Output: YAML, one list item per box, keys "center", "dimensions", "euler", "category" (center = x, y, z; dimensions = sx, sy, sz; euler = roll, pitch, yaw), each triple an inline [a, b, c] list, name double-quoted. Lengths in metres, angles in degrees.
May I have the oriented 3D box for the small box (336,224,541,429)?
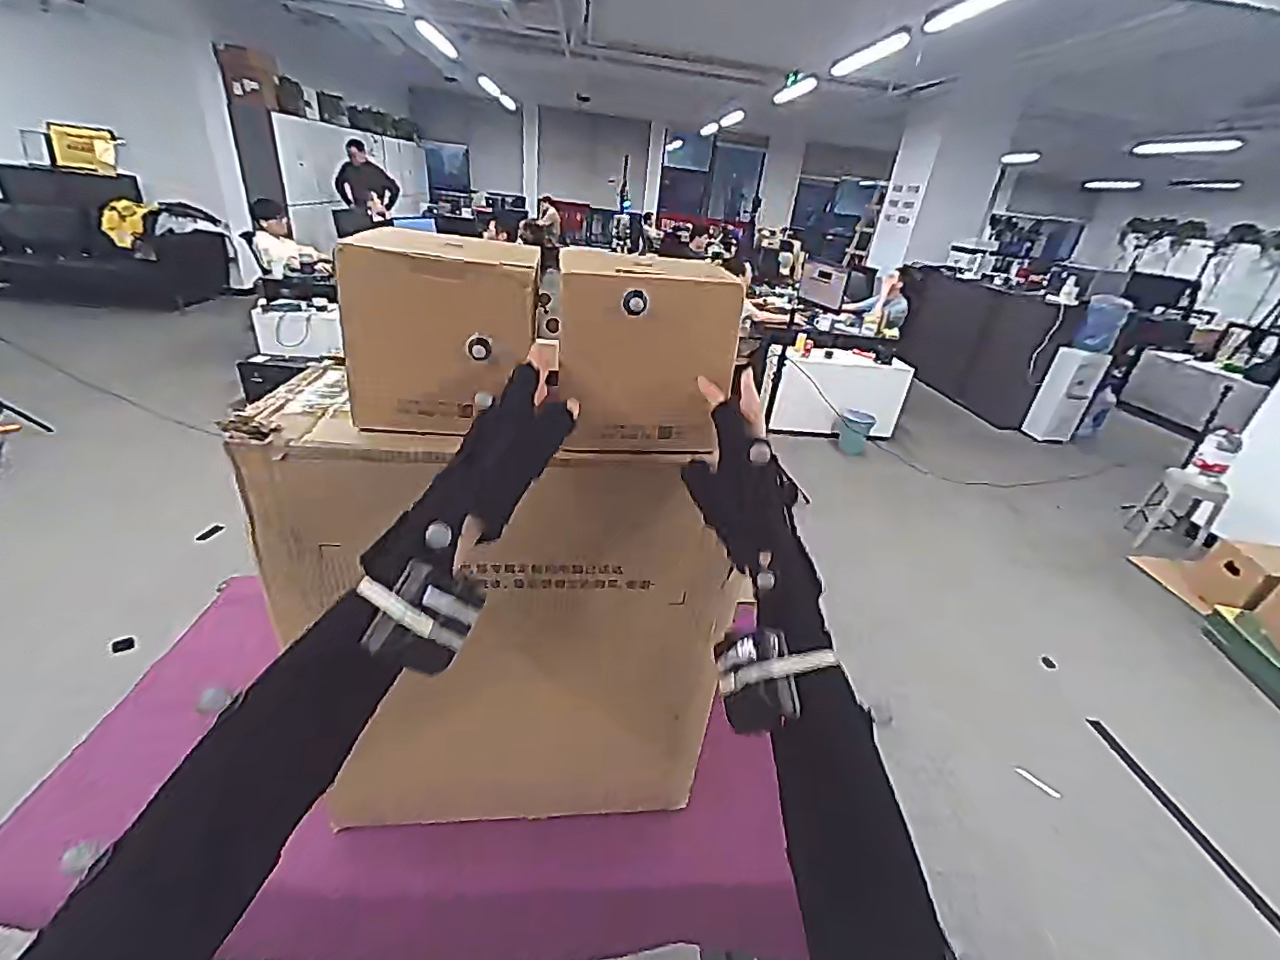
- center: [-0.192, -0.161, 0.564]
  dimensions: [0.168, 0.176, 0.179]
  euler: [4, 26, -12]
  category: "small box"

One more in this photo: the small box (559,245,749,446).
- center: [-0.001, -0.147, 0.574]
  dimensions: [0.168, 0.176, 0.179]
  euler: [0, 27, -9]
  category: "small box"
